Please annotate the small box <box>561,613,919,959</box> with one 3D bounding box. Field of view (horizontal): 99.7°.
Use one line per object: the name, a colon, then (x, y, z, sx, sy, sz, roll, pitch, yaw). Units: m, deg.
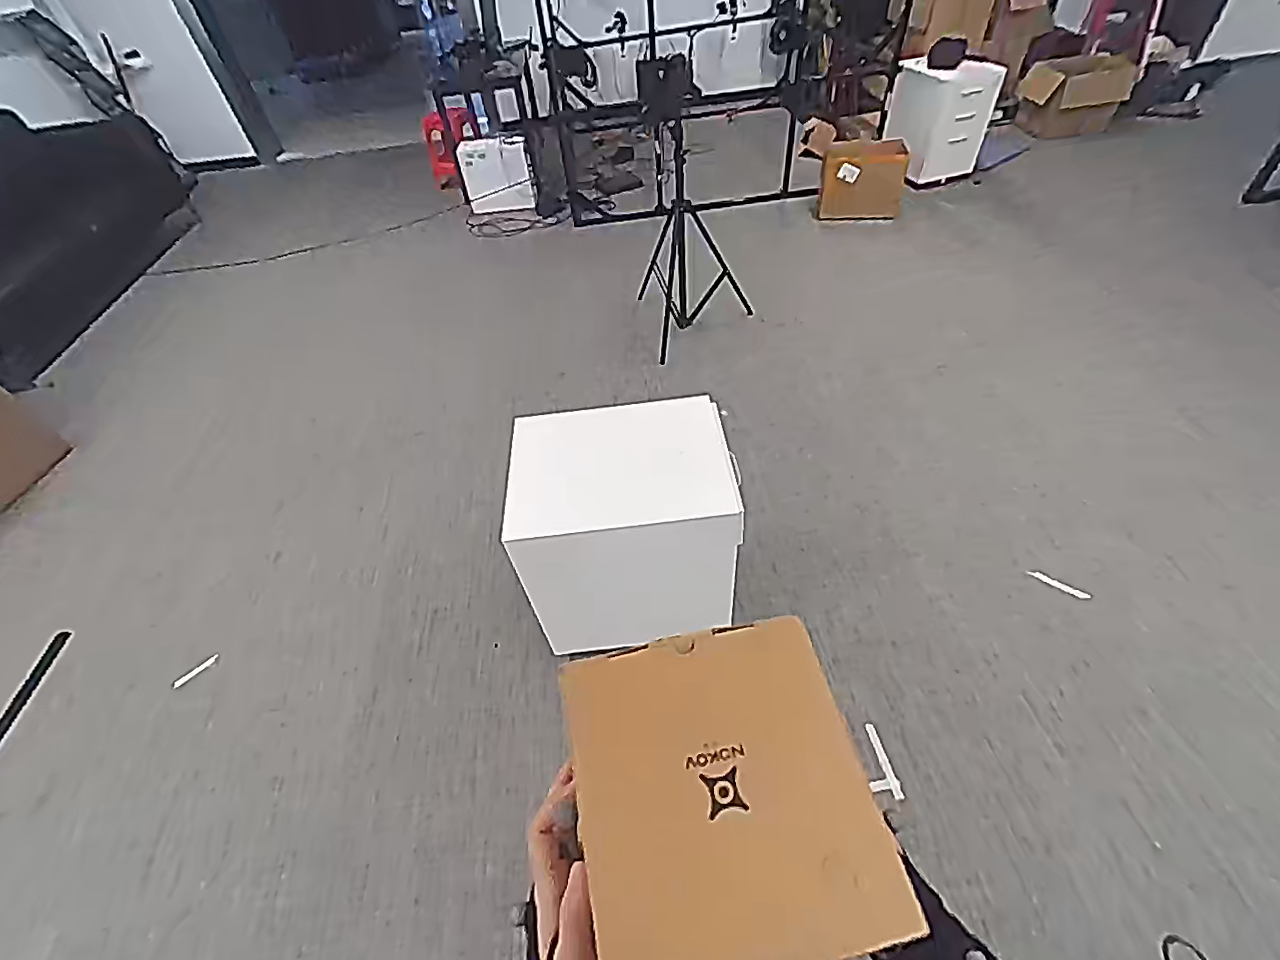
small box: (0.046, 0.220, 0.375, 0.168, 0.176, 0.179, -11, 53, -8)
